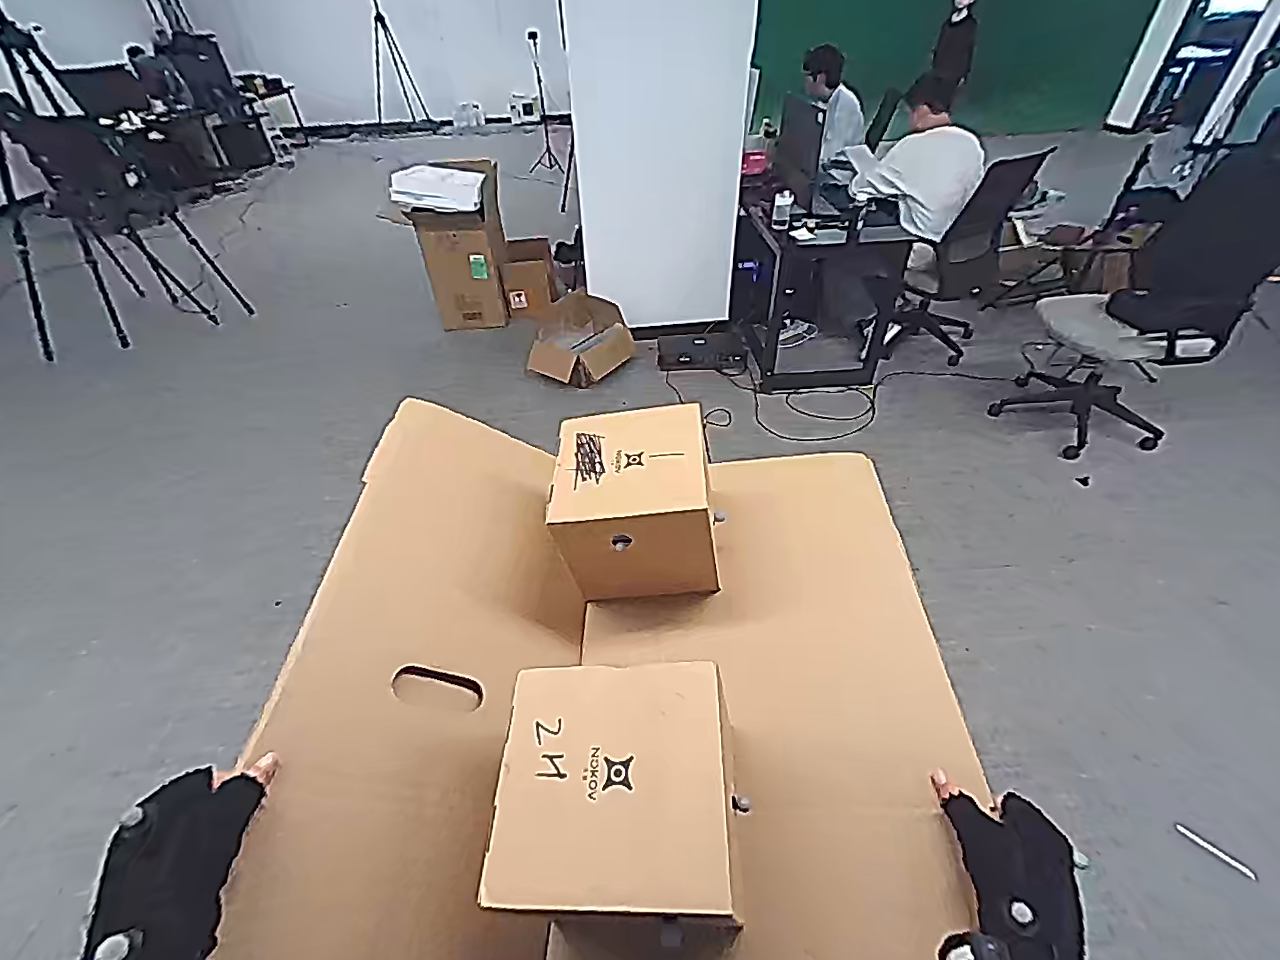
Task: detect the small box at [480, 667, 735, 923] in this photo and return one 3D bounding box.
[{"bbox_3d":[-0.009,0.276,0.475,0.179,0.176,0.168,-5,48,10],"label":"small box"}]

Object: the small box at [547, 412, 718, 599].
[{"bbox_3d":[0.000,0.038,0.685,0.179,0.176,0.168,-6,48,8],"label":"small box"}]
